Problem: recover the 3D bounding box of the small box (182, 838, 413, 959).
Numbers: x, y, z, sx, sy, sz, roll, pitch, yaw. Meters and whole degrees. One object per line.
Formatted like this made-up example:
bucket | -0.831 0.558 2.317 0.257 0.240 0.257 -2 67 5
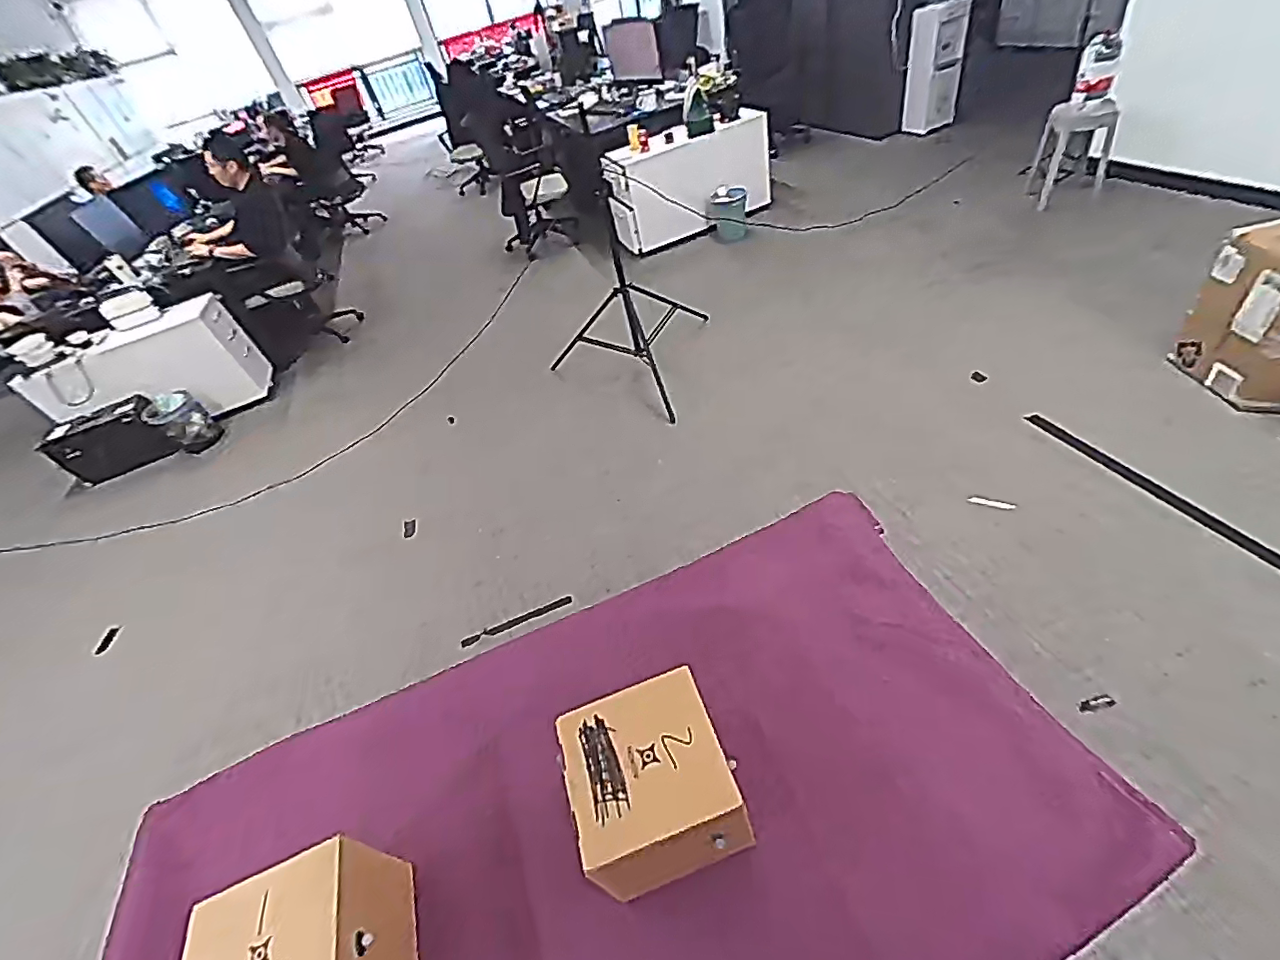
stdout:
small box | -0.365 0.540 0.593 0.168 0.176 0.179 -23 43 -8
